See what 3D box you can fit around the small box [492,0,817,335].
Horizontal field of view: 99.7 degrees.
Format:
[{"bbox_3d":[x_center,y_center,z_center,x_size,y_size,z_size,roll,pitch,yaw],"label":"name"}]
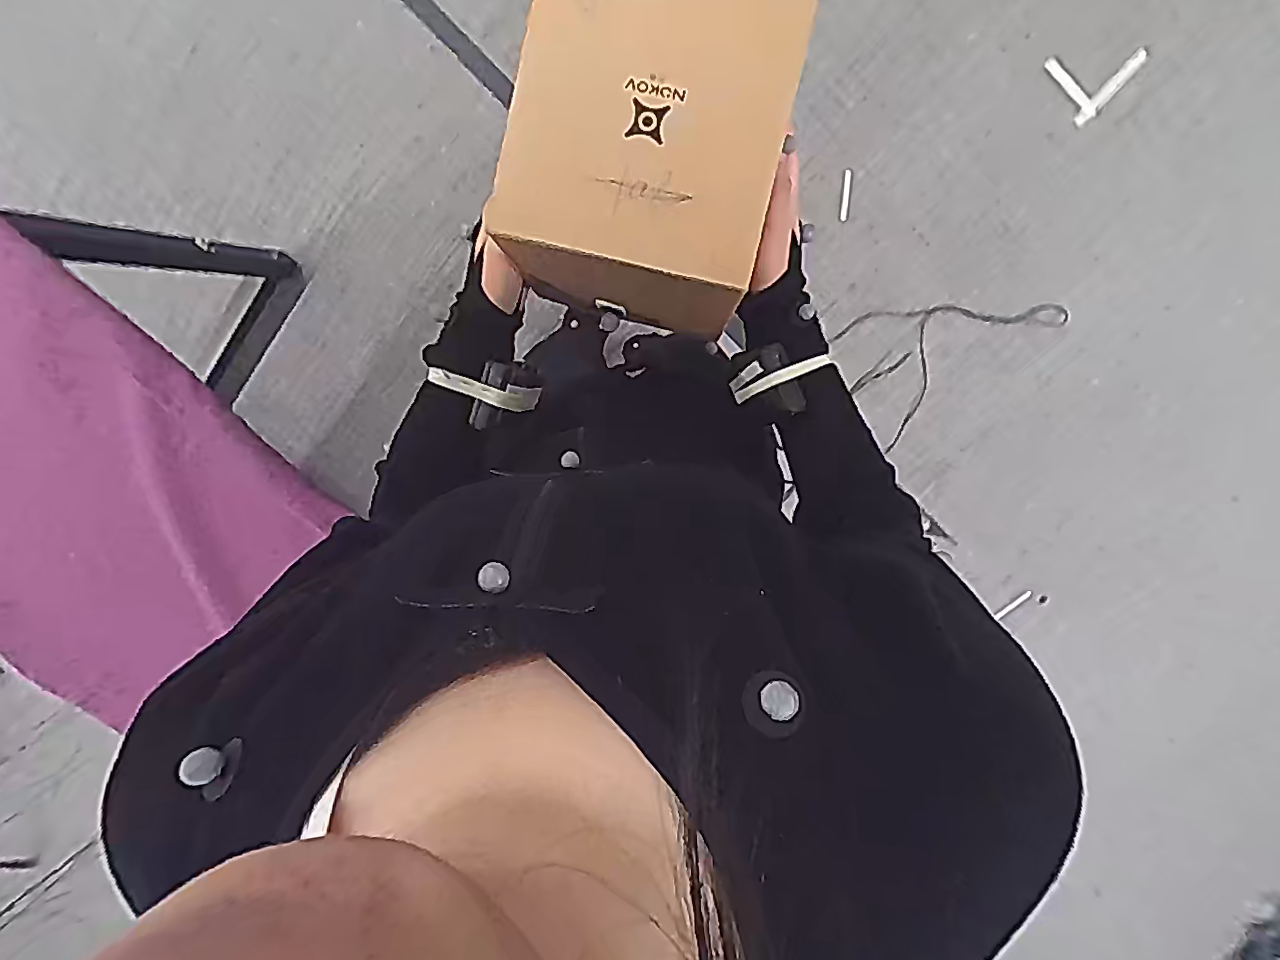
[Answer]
[{"bbox_3d":[0.009,-0.226,0.404,0.168,0.176,0.179,14,95,1],"label":"small box"}]
